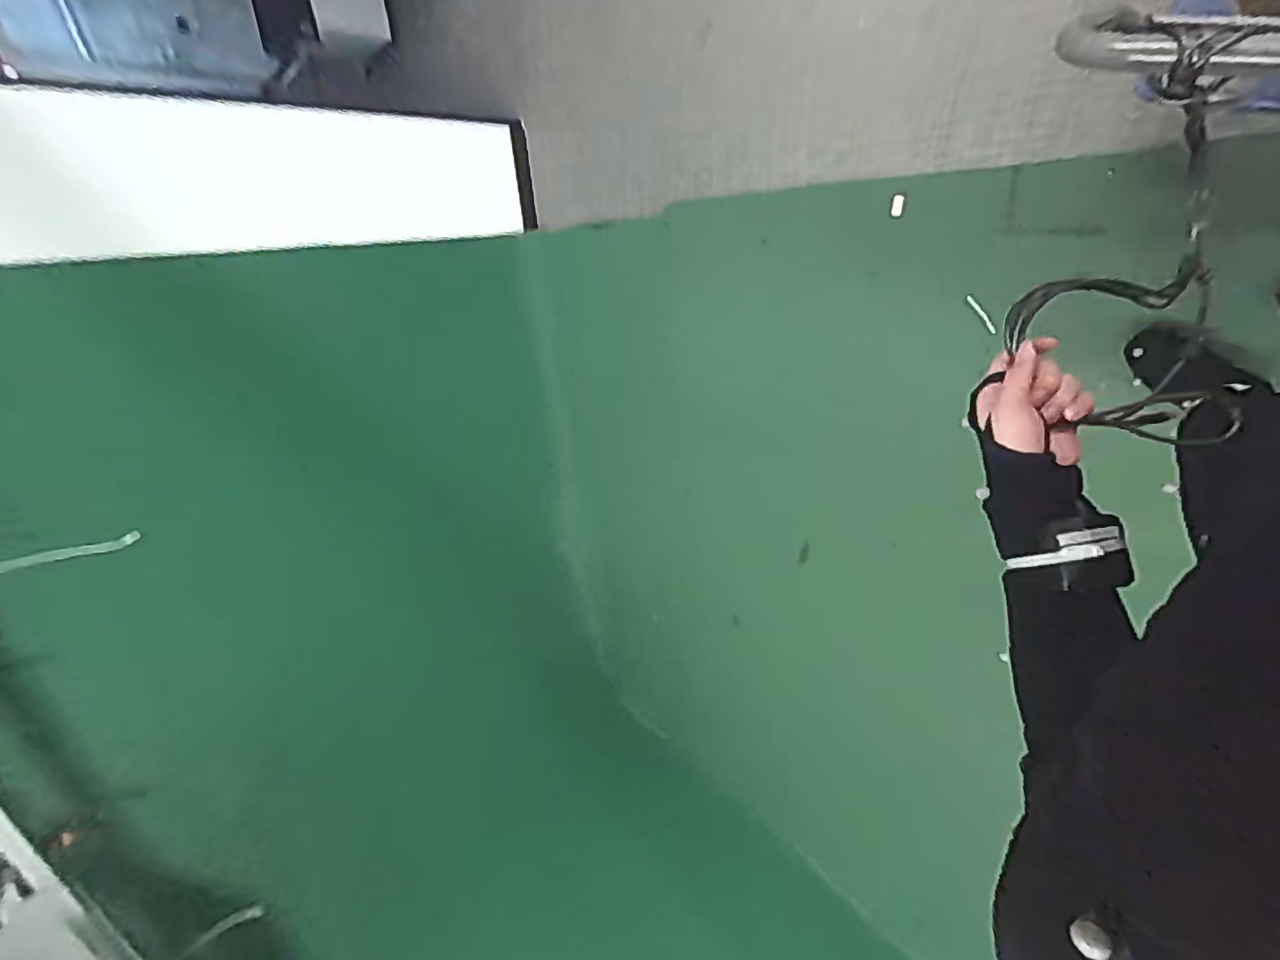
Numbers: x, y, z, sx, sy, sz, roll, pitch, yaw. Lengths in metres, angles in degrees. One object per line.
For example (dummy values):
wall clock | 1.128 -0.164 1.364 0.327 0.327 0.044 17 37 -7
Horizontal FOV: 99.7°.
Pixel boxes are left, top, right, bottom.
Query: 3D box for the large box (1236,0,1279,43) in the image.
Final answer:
large box | 1.001 -0.764 0.597 0.320 0.320 0.408 36 132 35
